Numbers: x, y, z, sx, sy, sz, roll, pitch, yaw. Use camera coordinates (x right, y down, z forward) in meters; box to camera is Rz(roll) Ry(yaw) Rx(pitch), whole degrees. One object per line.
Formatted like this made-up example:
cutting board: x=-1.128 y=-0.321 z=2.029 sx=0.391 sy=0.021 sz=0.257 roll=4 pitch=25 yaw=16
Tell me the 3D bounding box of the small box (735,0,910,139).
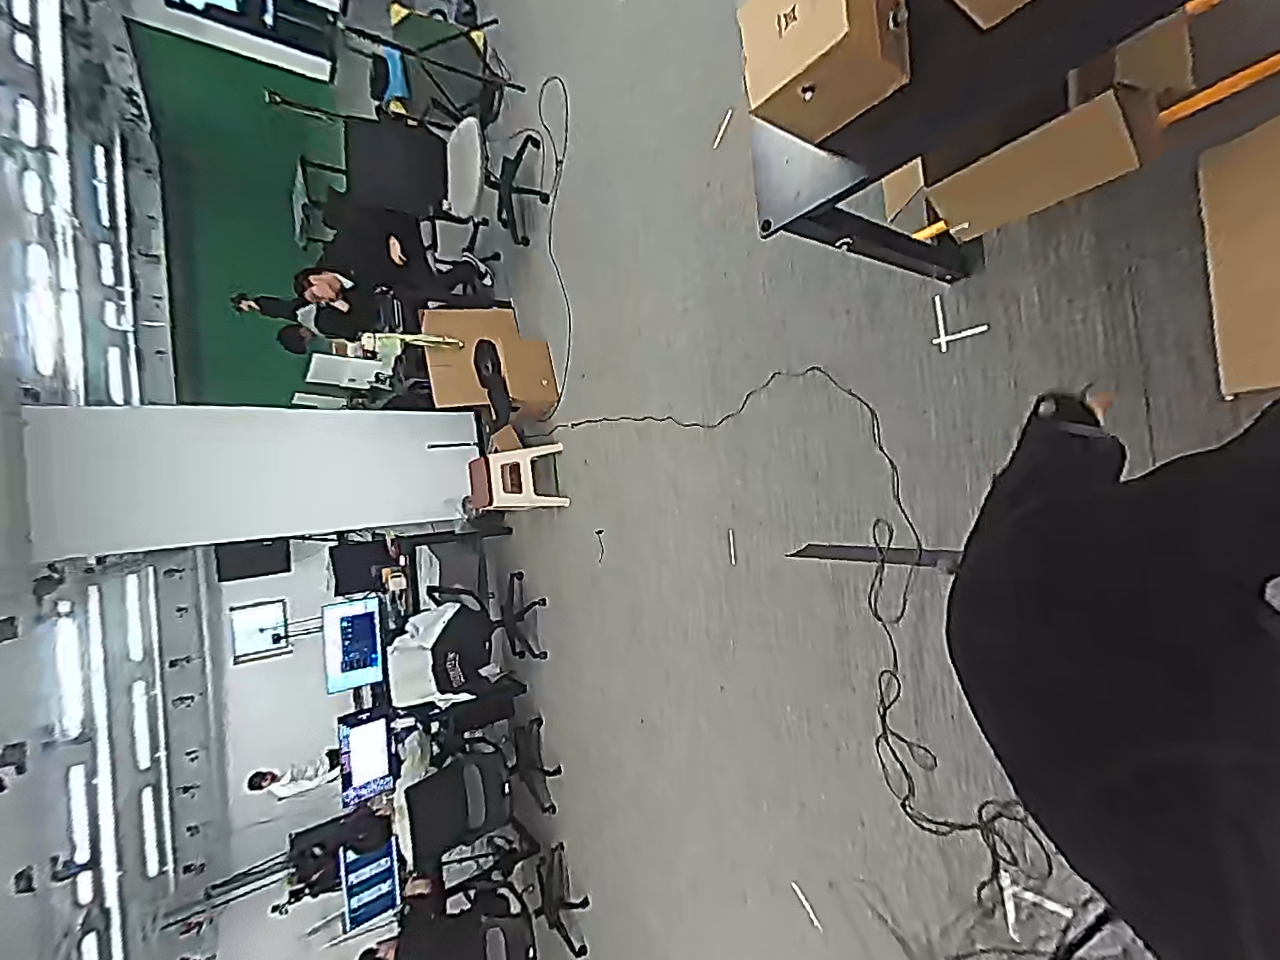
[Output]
small box: x=0.266 y=-0.647 z=0.799 sx=0.179 sy=0.176 sz=0.168 roll=-7 pitch=89 yaw=53
